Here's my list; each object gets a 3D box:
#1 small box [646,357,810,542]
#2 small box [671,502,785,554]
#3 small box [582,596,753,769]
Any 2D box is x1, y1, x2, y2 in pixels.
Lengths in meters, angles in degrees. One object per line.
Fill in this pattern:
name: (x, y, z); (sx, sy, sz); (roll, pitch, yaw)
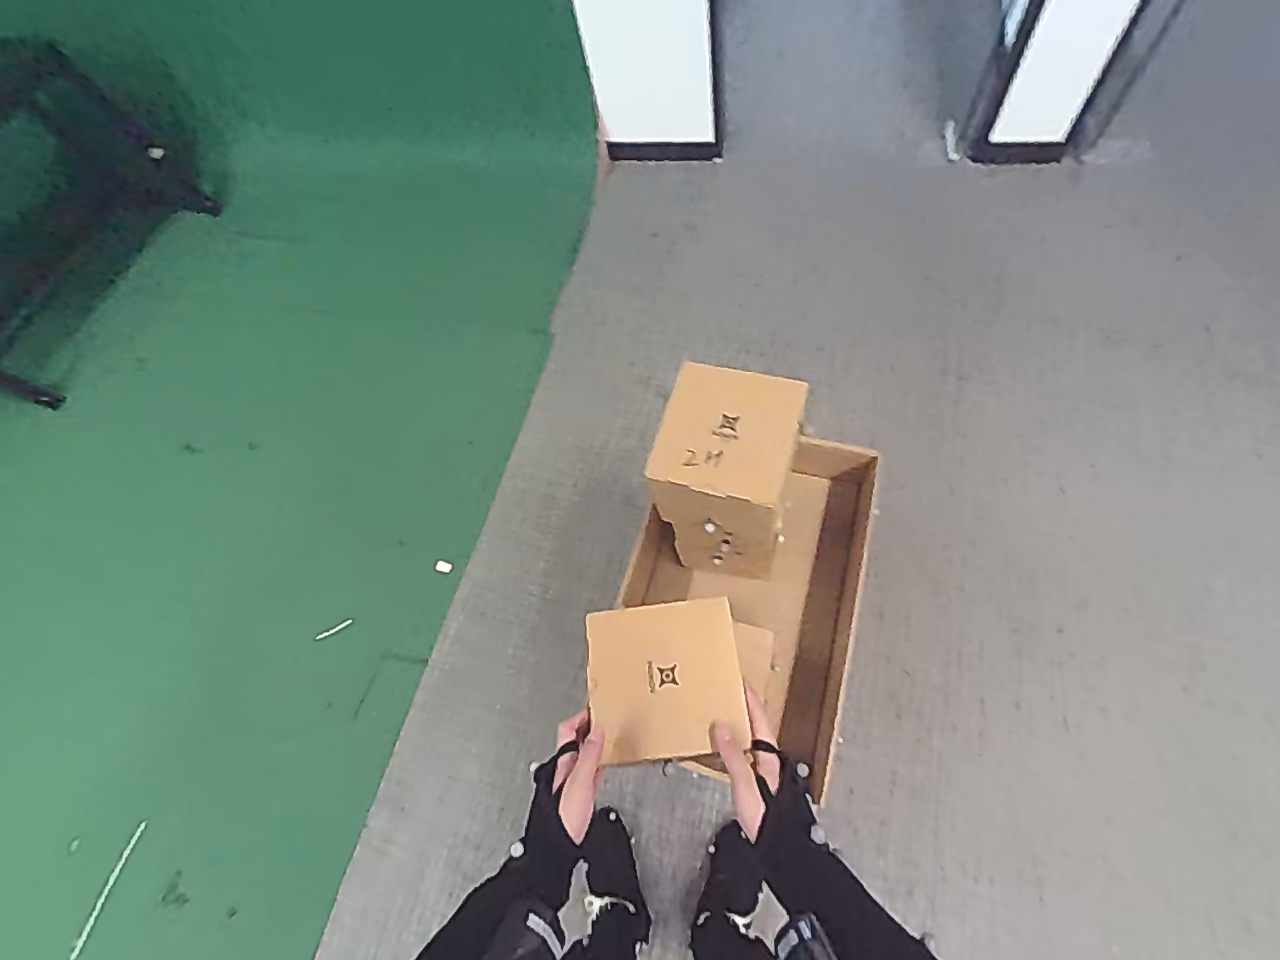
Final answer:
small box: (0.122, -0.036, 0.734); (0.168, 0.176, 0.179); (14, 71, 17)
small box: (0.155, 0.013, 0.890); (0.168, 0.176, 0.179); (7, 69, 13)
small box: (0.035, 0.255, 0.671); (0.179, 0.176, 0.168); (-10, 62, 5)
